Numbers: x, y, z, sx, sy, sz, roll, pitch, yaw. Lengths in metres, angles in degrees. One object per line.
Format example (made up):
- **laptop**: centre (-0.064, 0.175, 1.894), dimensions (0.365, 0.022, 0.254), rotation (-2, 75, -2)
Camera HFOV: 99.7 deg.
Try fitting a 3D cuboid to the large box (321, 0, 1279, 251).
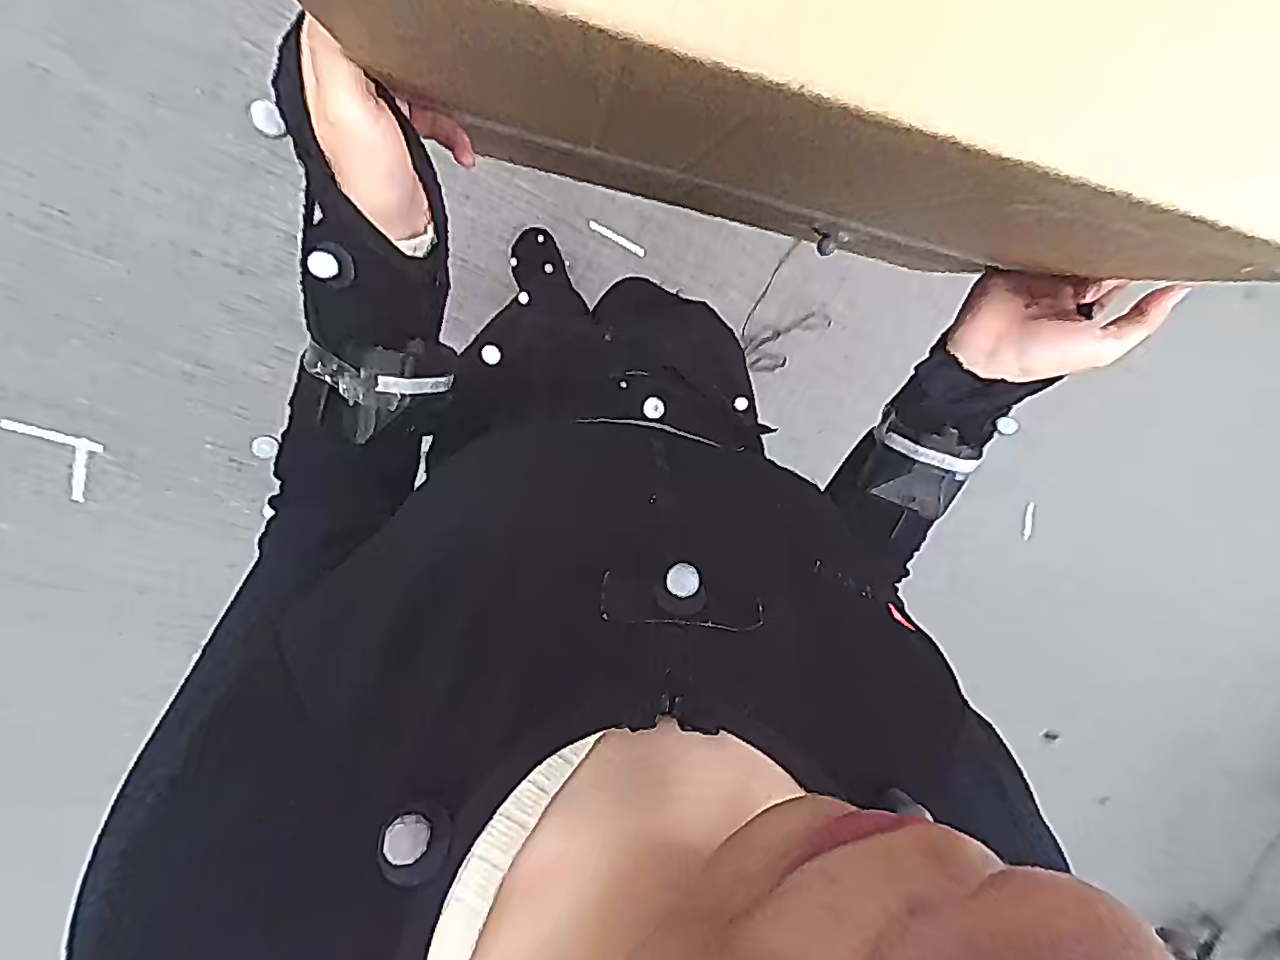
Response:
- **large box**: centre (0.096, -0.313, 0.247), dimensions (0.408, 0.320, 0.320), rotation (7, 112, -11)
